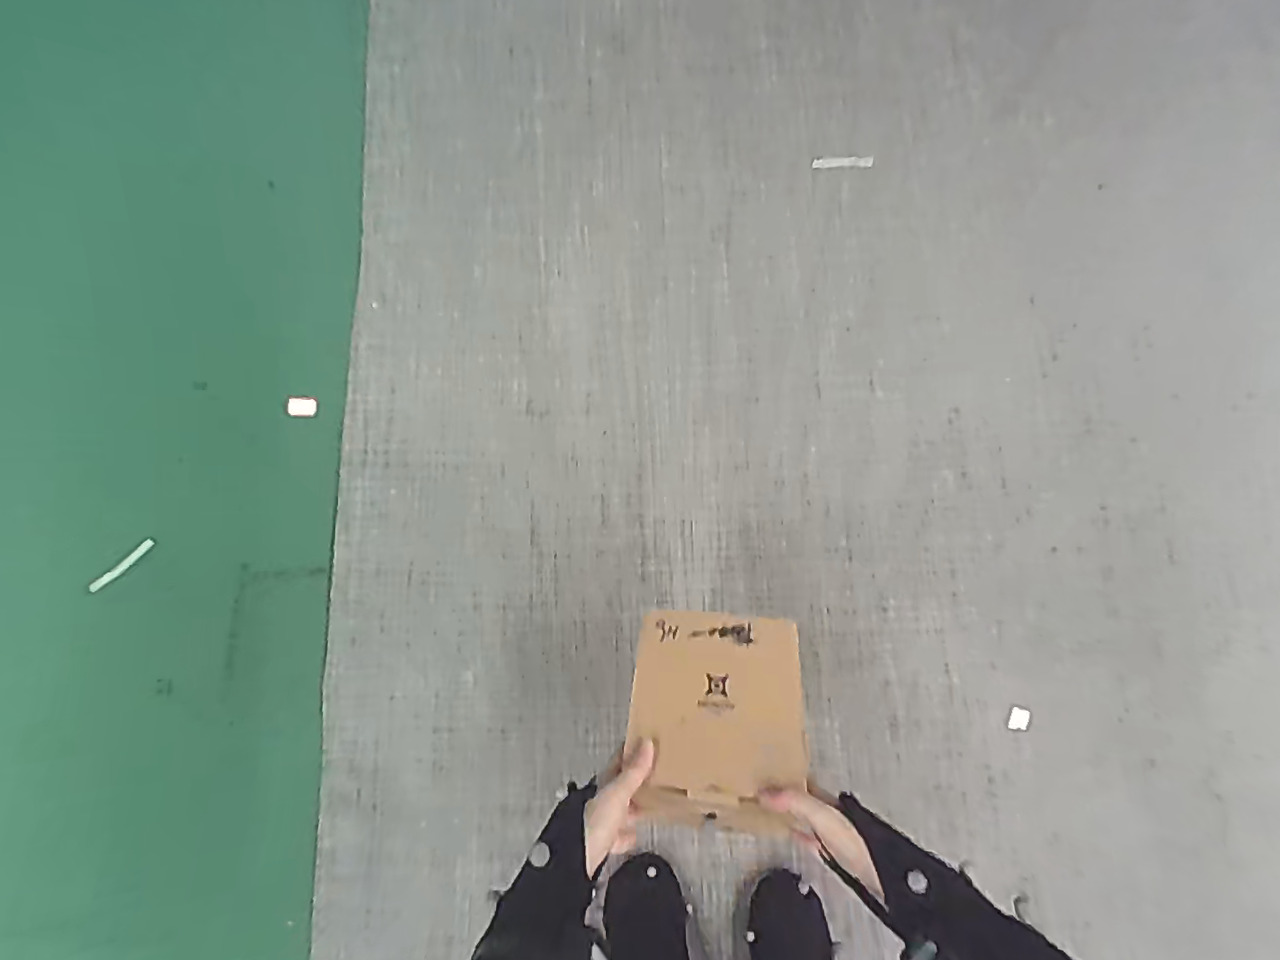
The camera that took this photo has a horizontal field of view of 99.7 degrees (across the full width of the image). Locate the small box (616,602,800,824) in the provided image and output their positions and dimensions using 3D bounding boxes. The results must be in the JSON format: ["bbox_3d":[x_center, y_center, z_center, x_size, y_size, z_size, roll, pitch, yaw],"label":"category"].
[{"bbox_3d":[0.077,0.255,0.587,0.168,0.176,0.179,3,50,8],"label":"small box"}]
